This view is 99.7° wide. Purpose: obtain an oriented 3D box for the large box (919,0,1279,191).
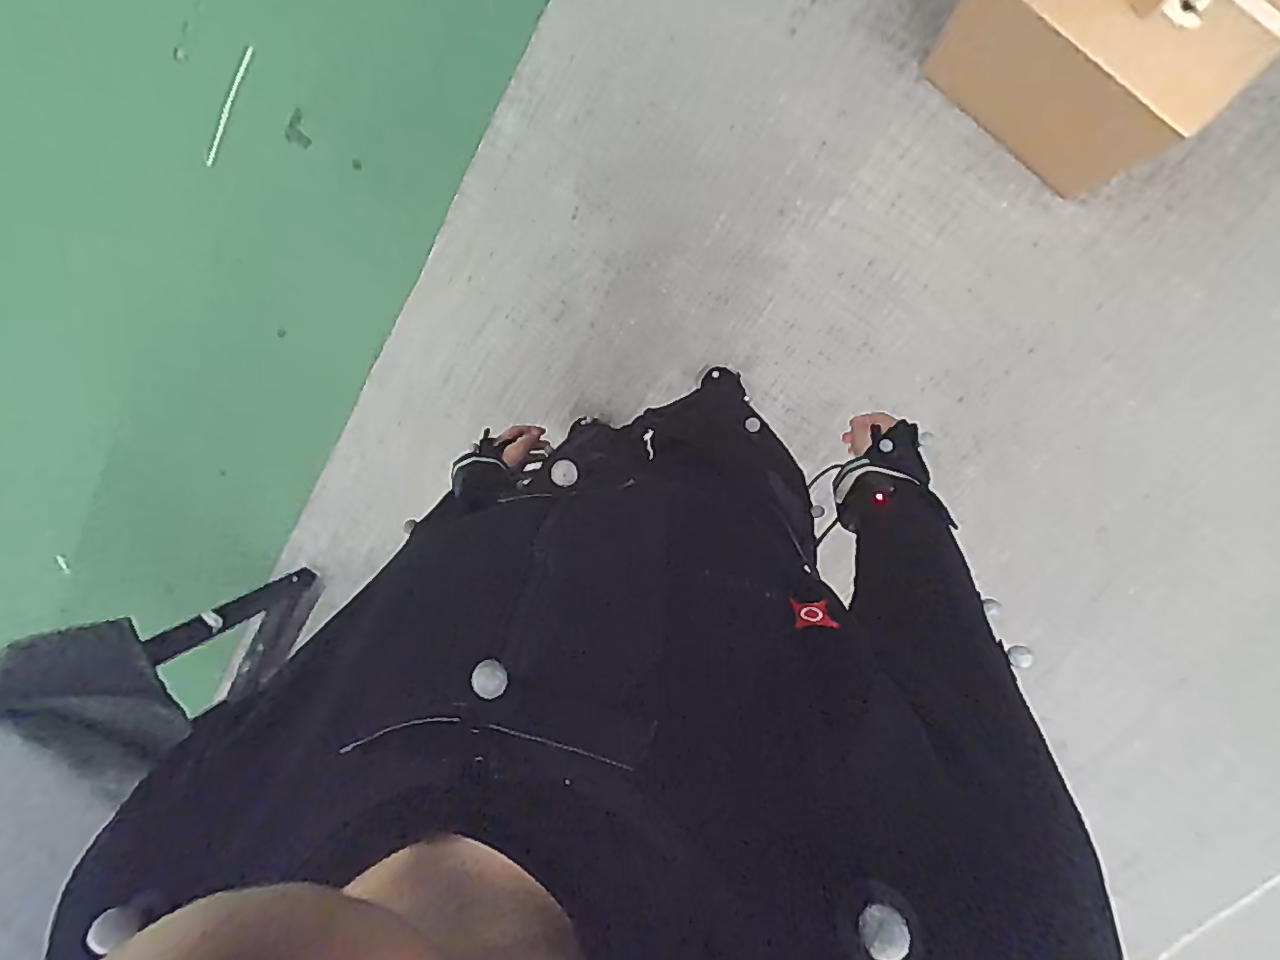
[{"bbox_3d":[0.767,-0.774,0.893,0.408,0.320,0.320,40,107,0],"label":"large box"}]
